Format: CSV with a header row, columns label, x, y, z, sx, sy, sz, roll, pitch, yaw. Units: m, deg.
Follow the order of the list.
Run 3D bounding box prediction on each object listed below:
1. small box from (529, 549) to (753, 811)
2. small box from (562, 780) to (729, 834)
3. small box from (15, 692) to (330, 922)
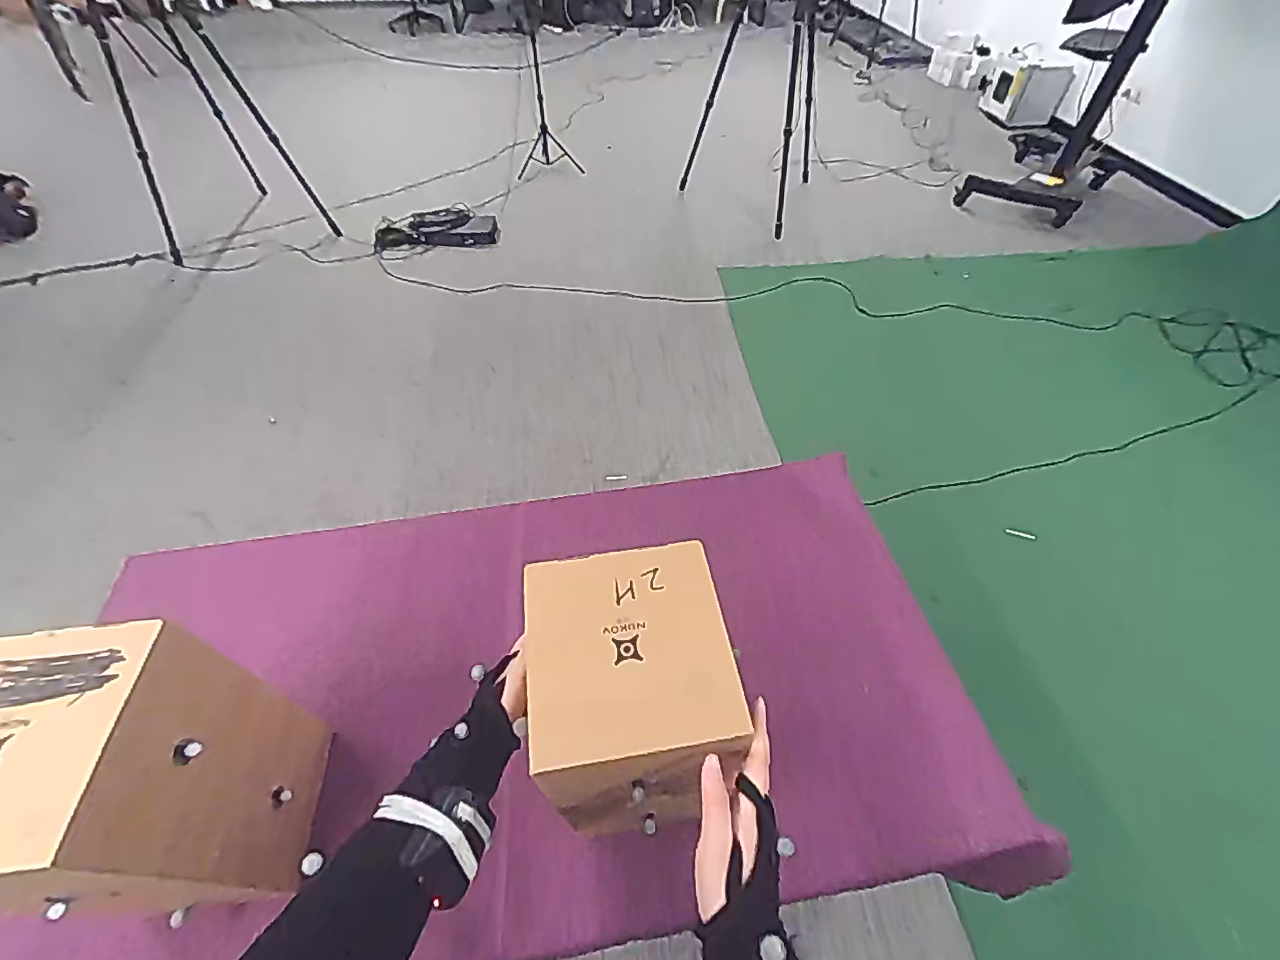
label,x,y,z,sx,sy,sz,roll,pitch,yaw
small box,-0.007,0.190,0.502,0.168,0.176,0.179,-7,50,-6
small box,-0.003,0.296,0.629,0.168,0.176,0.179,-6,51,-6
small box,-0.464,0.351,0.580,0.168,0.176,0.179,-5,51,-5
